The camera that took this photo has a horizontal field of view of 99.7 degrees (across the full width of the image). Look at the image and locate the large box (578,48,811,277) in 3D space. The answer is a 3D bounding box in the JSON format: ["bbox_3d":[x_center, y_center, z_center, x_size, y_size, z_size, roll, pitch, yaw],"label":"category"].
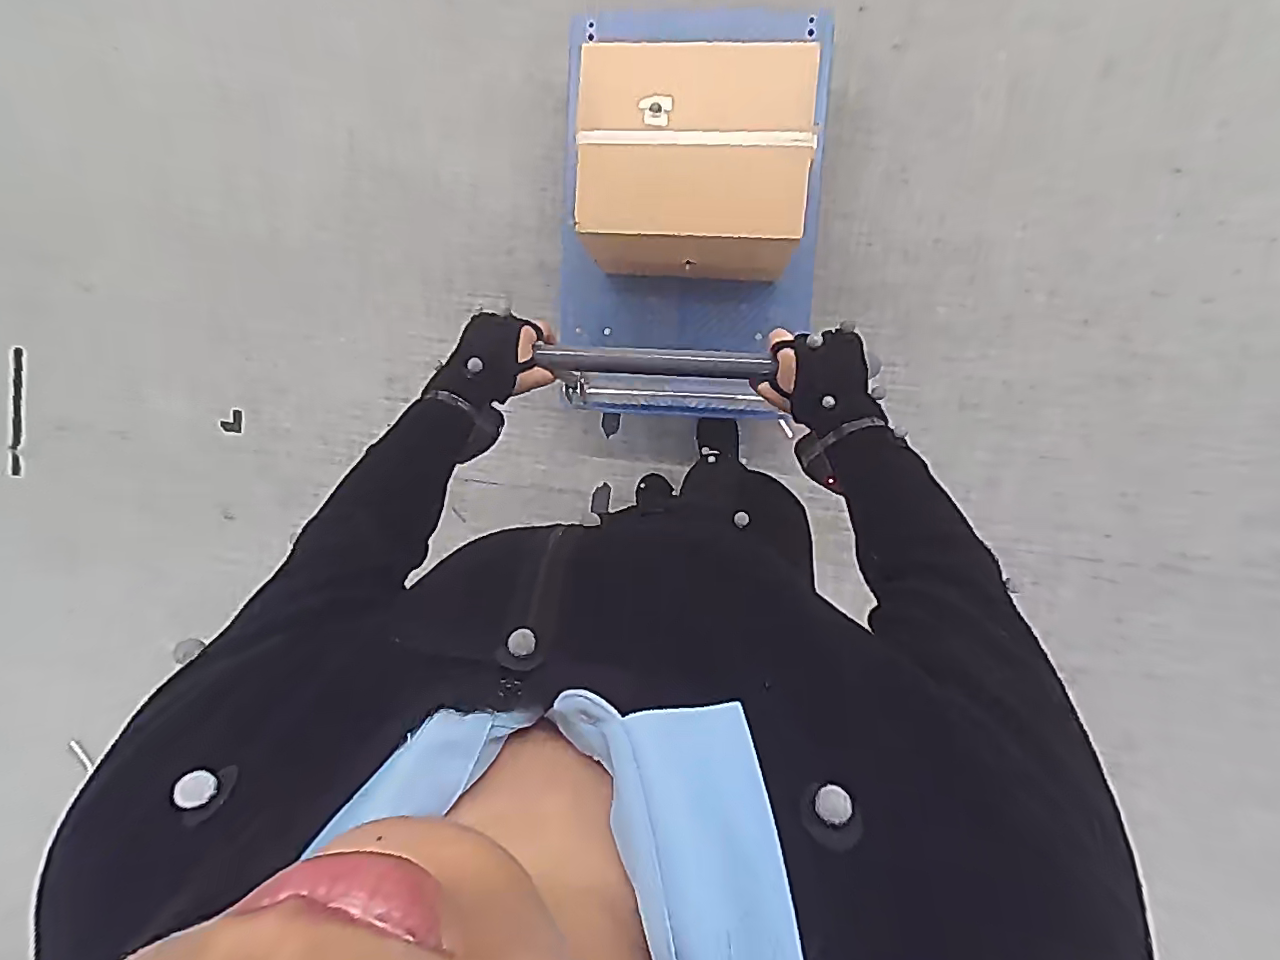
[{"bbox_3d":[0.108,-0.608,1.101,0.408,0.320,0.320,4,97,7],"label":"large box"}]
